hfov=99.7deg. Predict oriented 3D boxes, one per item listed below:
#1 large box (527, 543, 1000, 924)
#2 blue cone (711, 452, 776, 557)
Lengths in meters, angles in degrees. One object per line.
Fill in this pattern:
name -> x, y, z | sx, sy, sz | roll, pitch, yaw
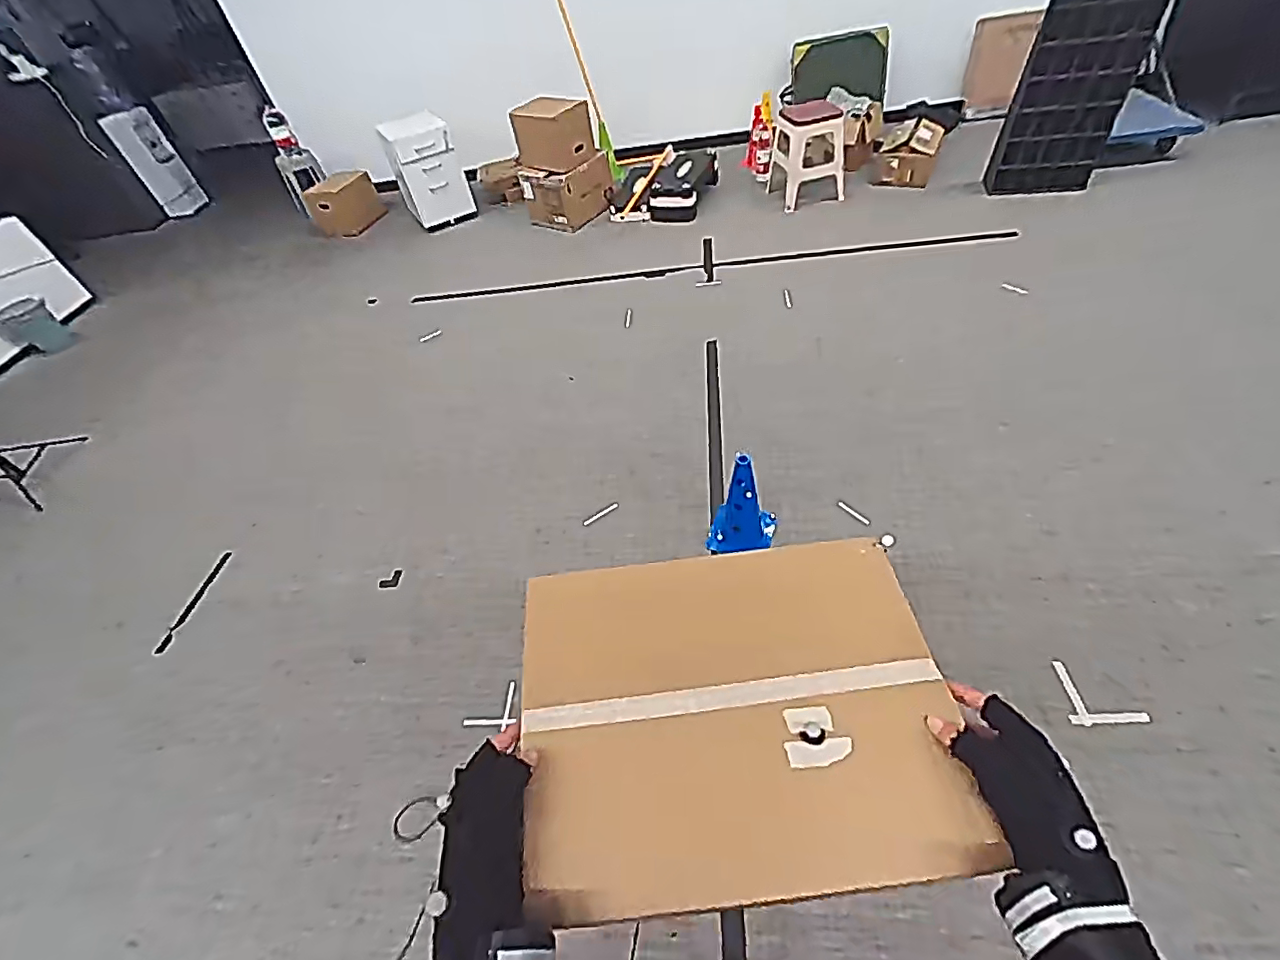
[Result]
large box -> 0.098, 0.310, 0.650 | 0.408, 0.320, 0.320 | -7, 51, 0
blue cone -> 0.325, 0.062, 1.696 | 0.193, 0.380, 0.192 | 14, 52, 21
